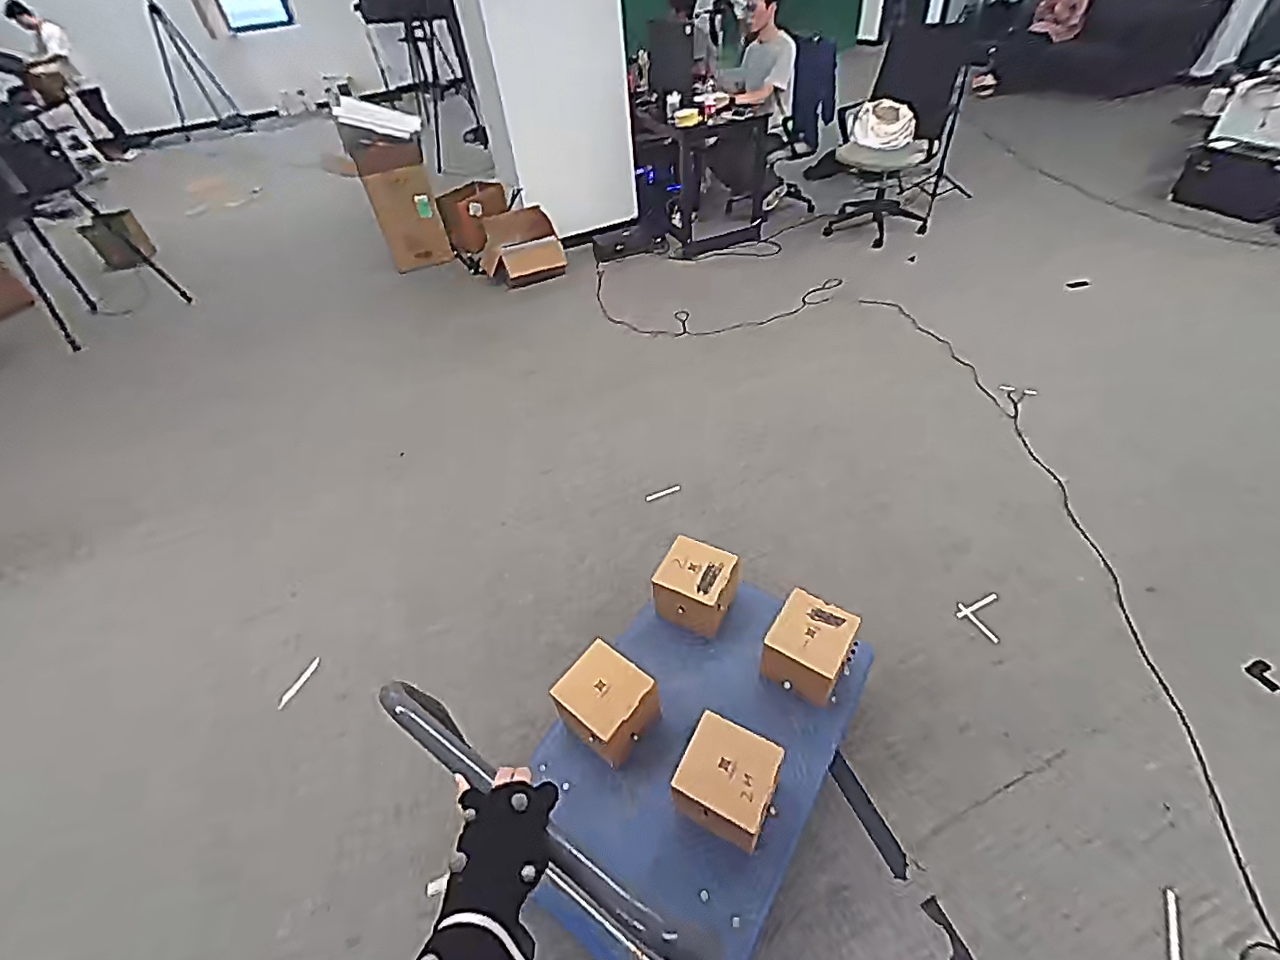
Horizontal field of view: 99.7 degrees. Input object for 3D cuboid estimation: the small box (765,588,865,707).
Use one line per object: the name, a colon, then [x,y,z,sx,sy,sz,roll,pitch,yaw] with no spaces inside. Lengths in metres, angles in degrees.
small box: [0.409,0.399,1.289,0.168,0.176,0.179,24,54,28]

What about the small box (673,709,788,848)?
small box: [0.184,0.613,1.105,0.179,0.176,0.168,19,51,25]

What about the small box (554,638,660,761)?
small box: [-0.070,0.509,1.246,0.179,0.176,0.168,29,55,29]
